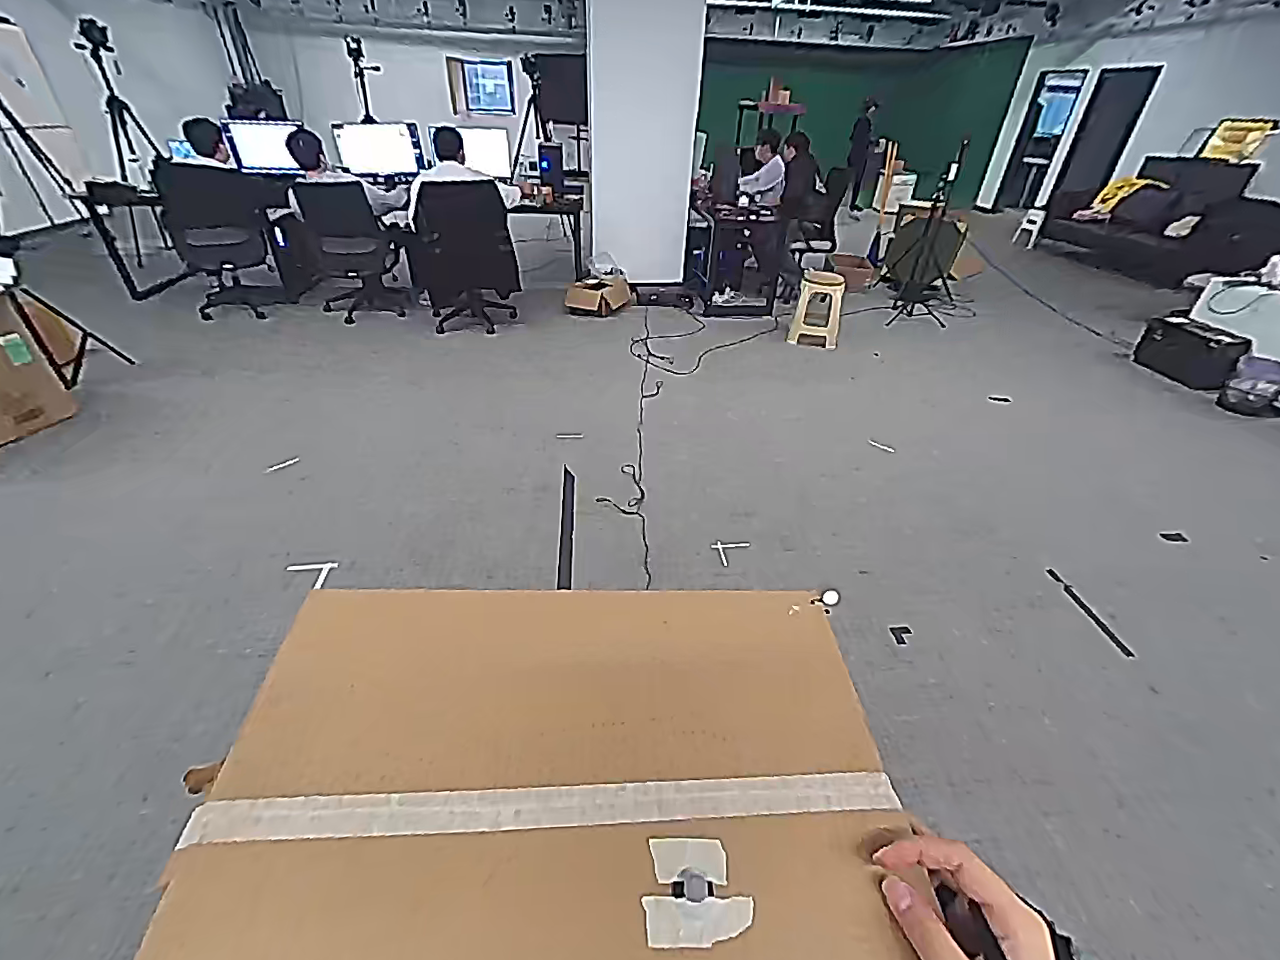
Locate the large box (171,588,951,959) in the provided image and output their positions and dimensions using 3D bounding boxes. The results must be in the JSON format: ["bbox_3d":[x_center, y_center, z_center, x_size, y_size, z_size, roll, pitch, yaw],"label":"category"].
[{"bbox_3d":[-0.052,0.304,0.431,0.408,0.320,0.320,3,43,-7],"label":"large box"}]
